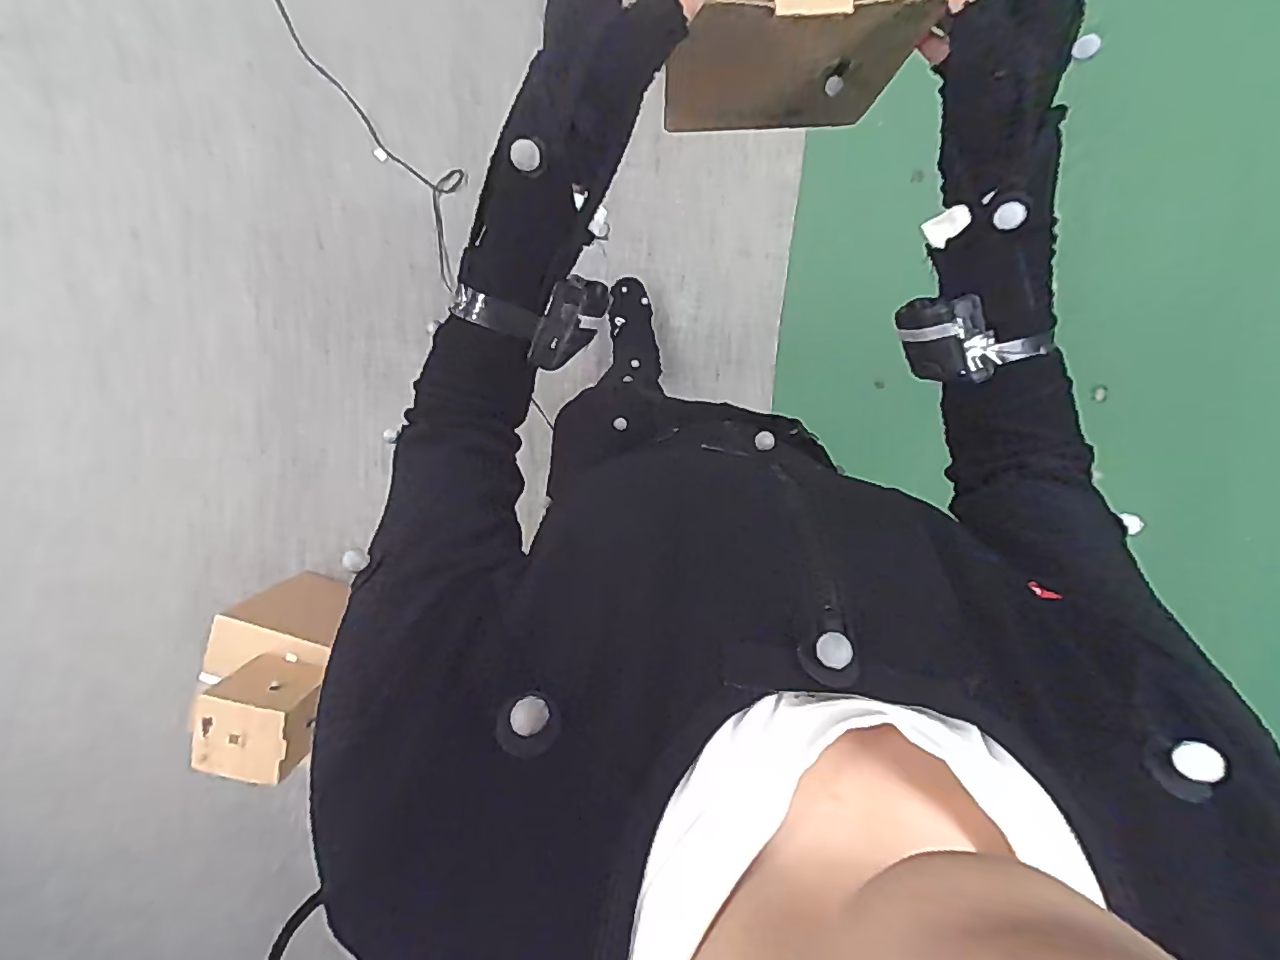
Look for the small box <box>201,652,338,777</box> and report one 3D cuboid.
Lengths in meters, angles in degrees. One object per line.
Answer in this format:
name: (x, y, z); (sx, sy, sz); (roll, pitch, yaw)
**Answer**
small box: (-0.775, 0.488, 1.148); (0.179, 0.176, 0.168); (13, 99, -1)
